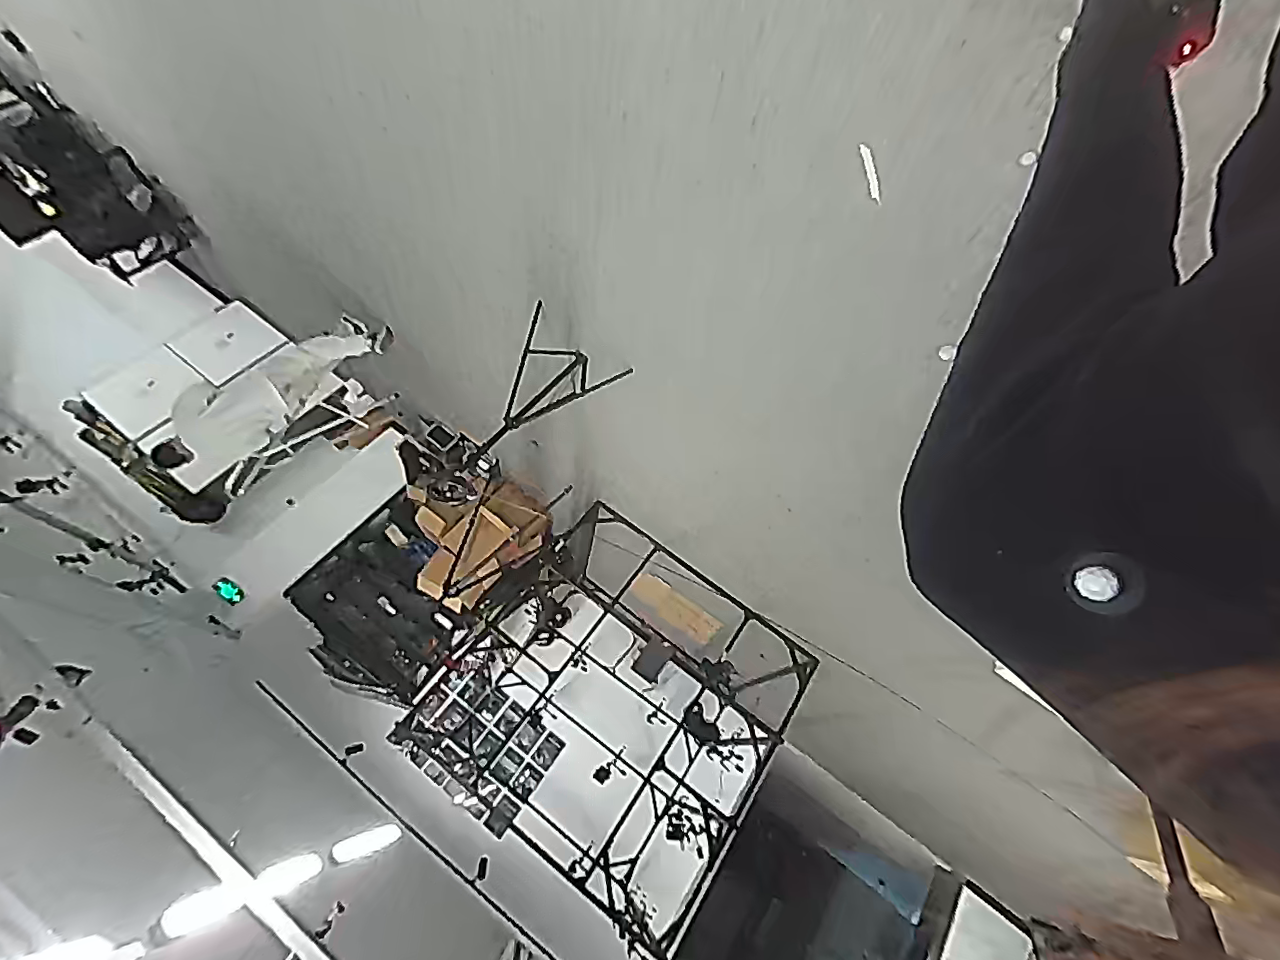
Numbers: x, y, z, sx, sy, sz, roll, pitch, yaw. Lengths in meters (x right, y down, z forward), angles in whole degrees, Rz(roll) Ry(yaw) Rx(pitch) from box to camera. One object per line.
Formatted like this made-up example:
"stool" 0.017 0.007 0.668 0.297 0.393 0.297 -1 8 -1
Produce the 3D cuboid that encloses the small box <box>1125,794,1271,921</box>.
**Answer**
"small box" 1.324 0.883 1.287 0.179 0.176 0.168 36 156 8
